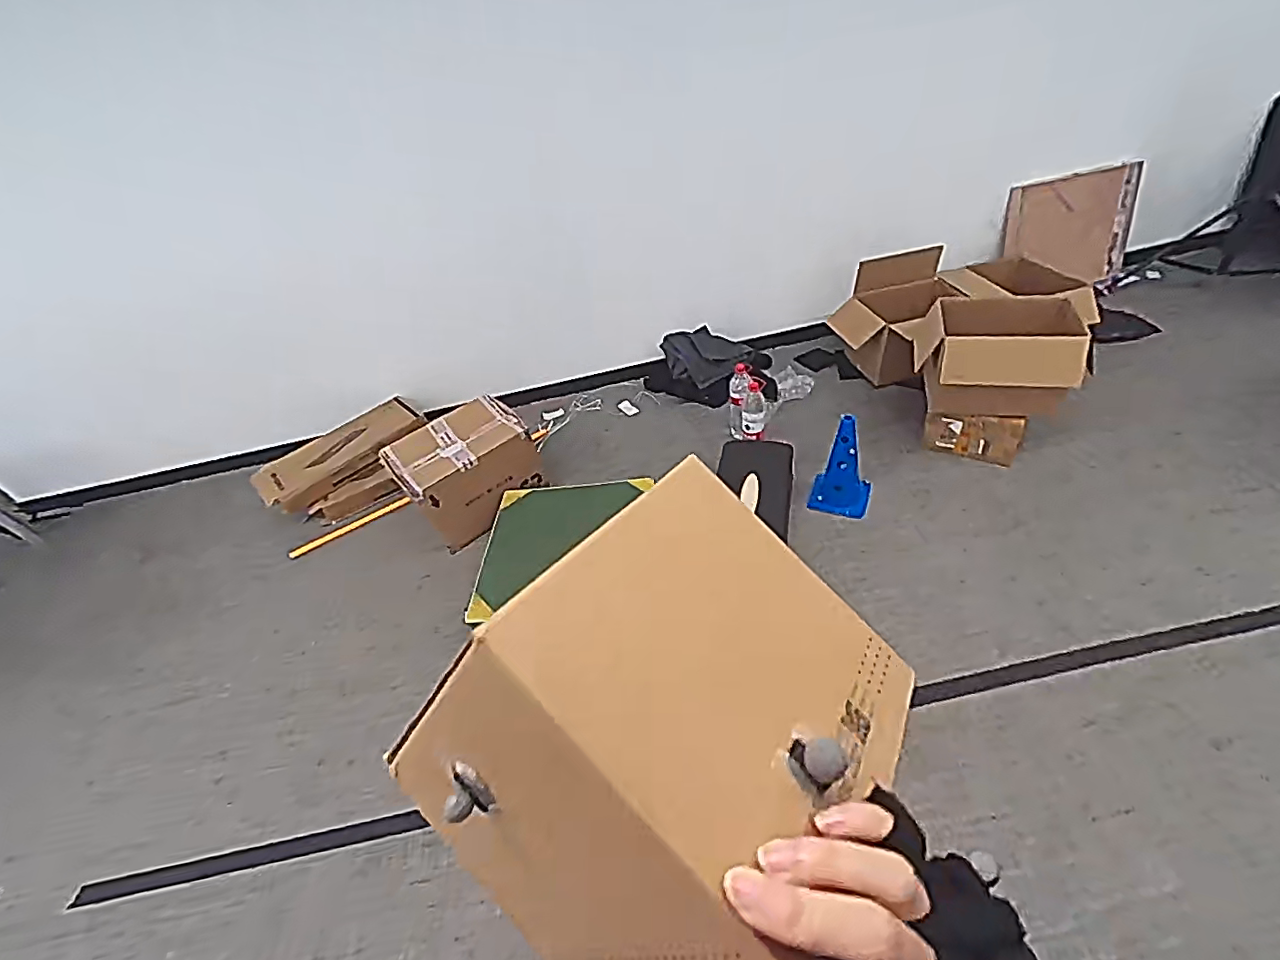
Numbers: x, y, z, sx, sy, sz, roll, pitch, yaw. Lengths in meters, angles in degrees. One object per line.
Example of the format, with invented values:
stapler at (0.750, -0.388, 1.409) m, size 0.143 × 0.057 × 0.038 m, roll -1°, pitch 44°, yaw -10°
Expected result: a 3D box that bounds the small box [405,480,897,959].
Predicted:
small box at (0.004, 0.139, 0.303) m, size 0.176 × 0.179 × 0.168 m, roll 44°, pitch 41°, yaw 7°
